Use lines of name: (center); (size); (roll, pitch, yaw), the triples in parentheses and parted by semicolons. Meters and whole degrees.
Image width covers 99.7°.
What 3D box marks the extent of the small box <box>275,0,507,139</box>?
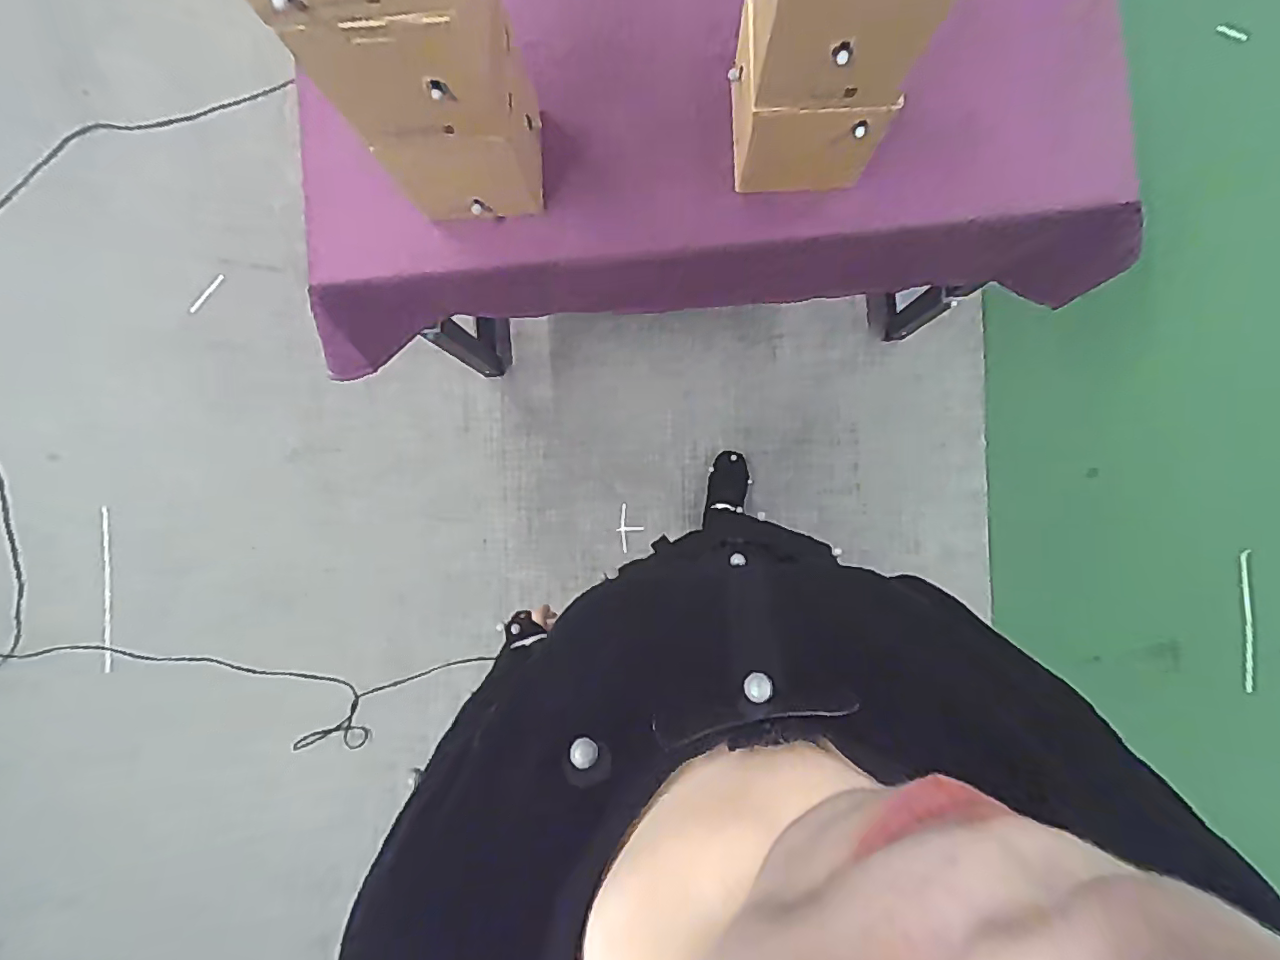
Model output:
small box: (-0.241, -0.486, 0.563); (0.168, 0.176, 0.179); (-1, 87, 3)

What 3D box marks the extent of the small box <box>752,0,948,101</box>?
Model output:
small box: (0.208, -0.515, 0.538); (0.168, 0.176, 0.179); (1, 88, 3)

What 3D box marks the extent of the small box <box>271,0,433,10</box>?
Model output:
small box: (-0.257, -0.496, 0.399); (0.168, 0.176, 0.179); (-4, 87, 2)

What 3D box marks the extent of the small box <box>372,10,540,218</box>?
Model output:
small box: (-0.234, -0.476, 0.726); (0.179, 0.176, 0.168); (-2, 88, 3)

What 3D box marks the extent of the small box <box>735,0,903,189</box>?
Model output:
small box: (0.218, -0.504, 0.702); (0.179, 0.176, 0.168); (-1, 88, 3)
